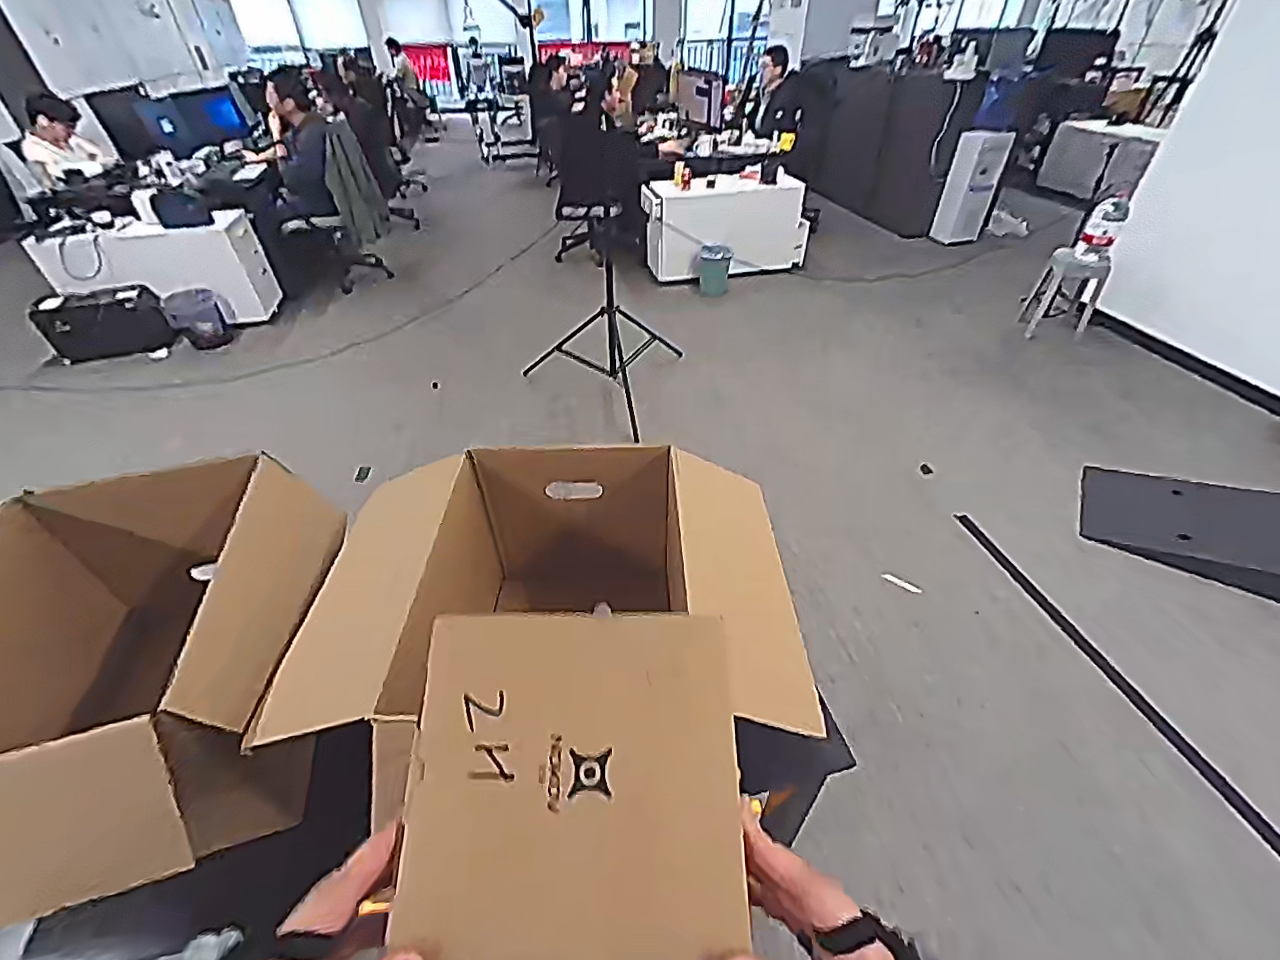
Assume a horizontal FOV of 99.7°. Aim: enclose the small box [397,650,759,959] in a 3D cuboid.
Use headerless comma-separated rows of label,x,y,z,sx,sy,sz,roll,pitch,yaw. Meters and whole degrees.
small box,-0.031,0.210,0.357,0.179,0.176,0.168,0,63,-1
